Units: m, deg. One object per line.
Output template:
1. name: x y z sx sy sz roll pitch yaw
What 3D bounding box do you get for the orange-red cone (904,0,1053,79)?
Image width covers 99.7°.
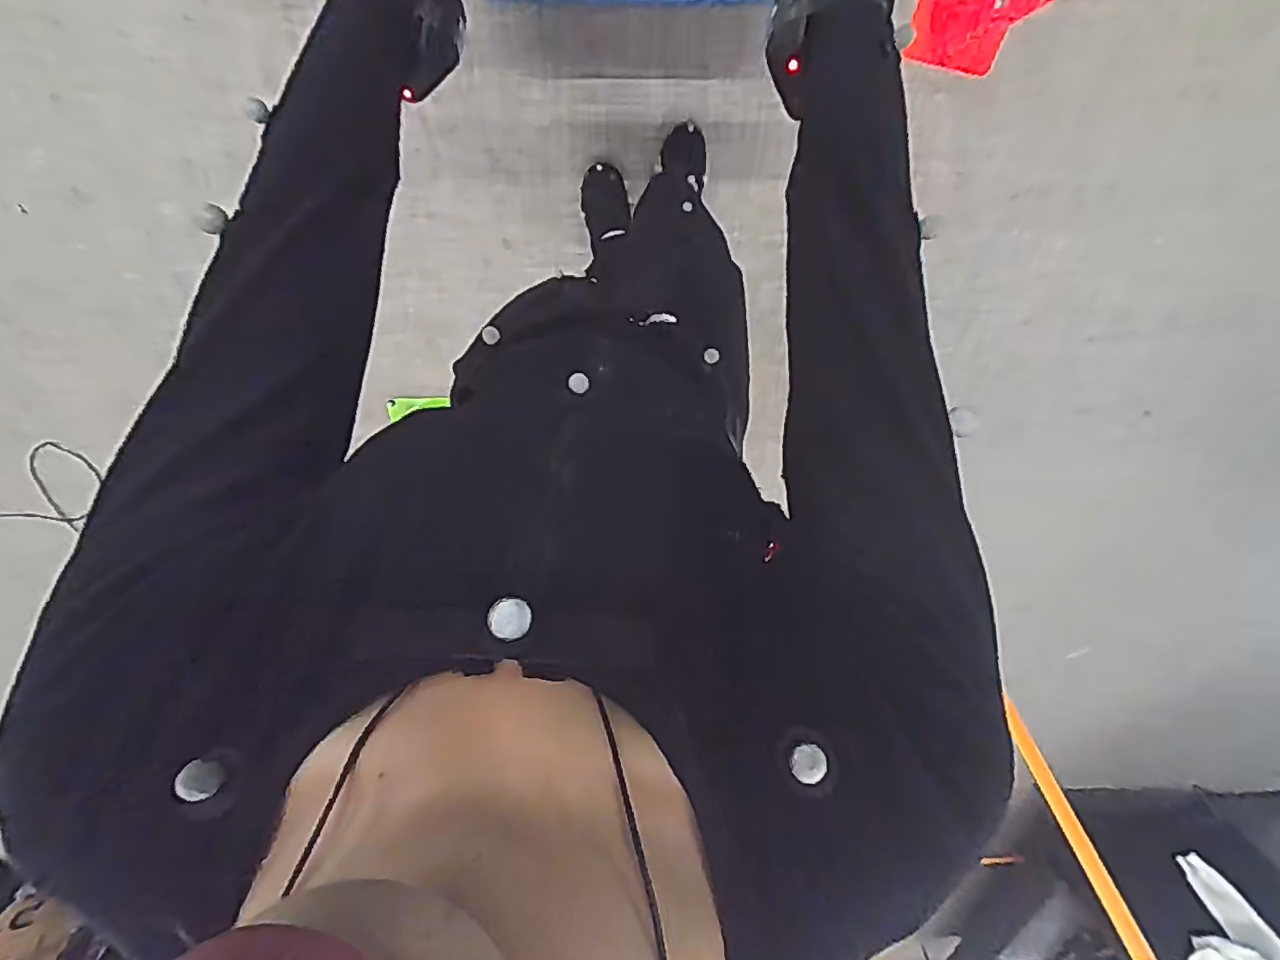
1. orange-red cone: 0.647 -0.837 0.925 0.198 0.360 0.199 10 123 -6
